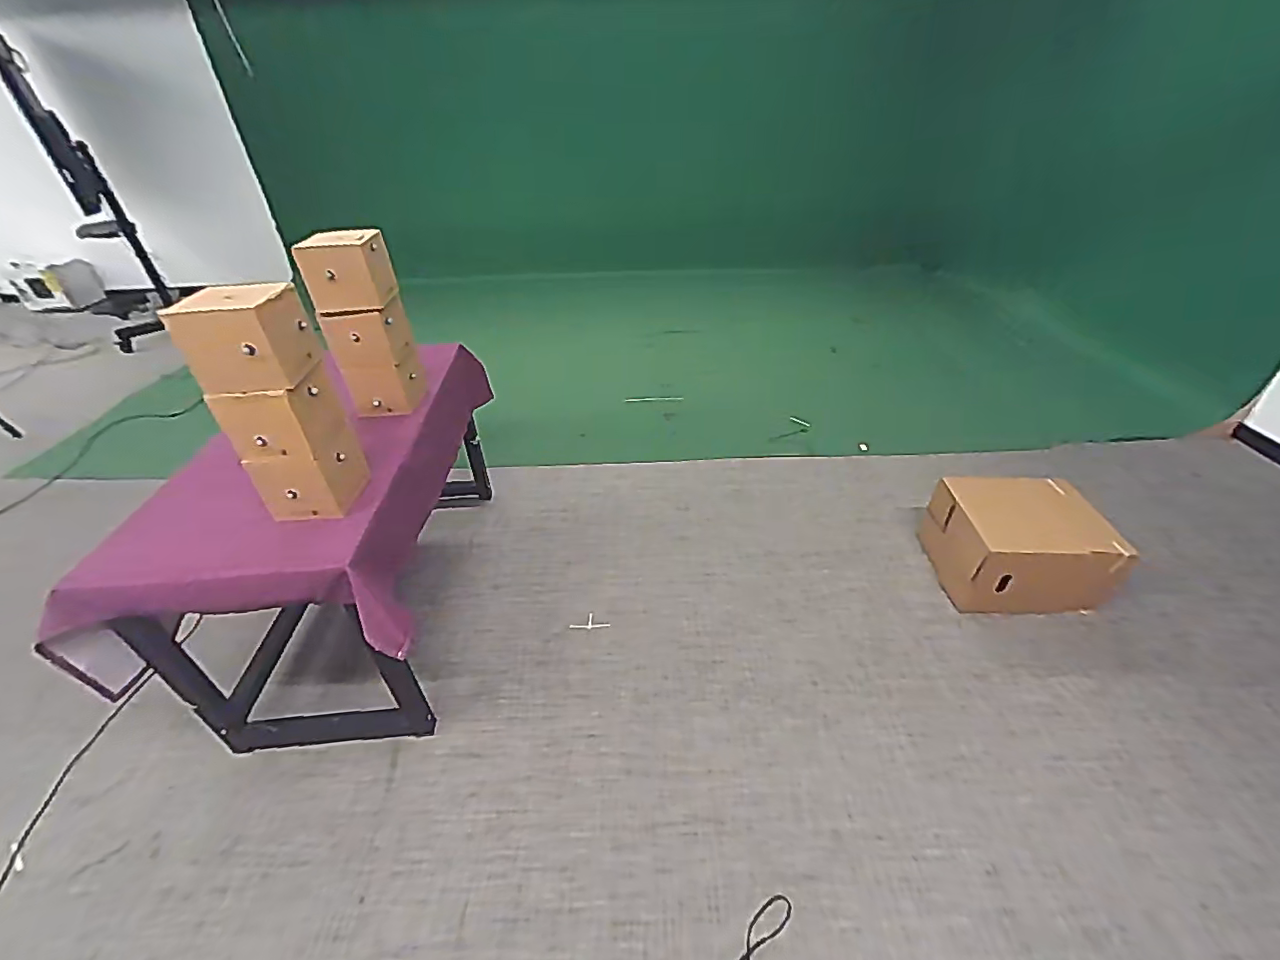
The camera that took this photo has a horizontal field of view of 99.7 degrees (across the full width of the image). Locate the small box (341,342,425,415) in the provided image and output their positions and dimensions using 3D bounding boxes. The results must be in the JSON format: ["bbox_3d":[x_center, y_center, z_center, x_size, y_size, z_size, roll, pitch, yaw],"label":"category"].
[{"bbox_3d":[-0.788,-0.316,1.680,0.168,0.176,0.179,-2,38,1],"label":"small box"}]

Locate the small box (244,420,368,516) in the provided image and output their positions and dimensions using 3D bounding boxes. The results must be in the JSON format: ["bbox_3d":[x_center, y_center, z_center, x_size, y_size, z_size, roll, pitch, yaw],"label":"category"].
[{"bbox_3d":[-0.781,-0.025,1.290,0.168,0.176,0.179,-2,37,1],"label":"small box"}]

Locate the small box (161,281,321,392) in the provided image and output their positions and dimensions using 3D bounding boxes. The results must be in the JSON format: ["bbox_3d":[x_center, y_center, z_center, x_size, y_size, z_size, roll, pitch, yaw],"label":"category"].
[{"bbox_3d":[-0.792,-0.291,1.101,0.179,0.176,0.168,-4,37,-1],"label":"small box"}]

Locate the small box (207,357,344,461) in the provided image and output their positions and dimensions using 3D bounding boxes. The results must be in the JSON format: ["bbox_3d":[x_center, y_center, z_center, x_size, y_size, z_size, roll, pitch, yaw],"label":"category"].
[{"bbox_3d":[-0.788,-0.159,1.196,0.168,0.176,0.179,-2,38,0],"label":"small box"}]

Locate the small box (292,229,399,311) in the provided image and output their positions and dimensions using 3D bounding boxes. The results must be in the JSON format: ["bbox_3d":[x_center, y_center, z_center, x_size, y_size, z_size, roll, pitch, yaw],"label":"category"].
[{"bbox_3d":[-0.788,-0.569,1.468,0.179,0.176,0.168,-5,38,-1],"label":"small box"}]
